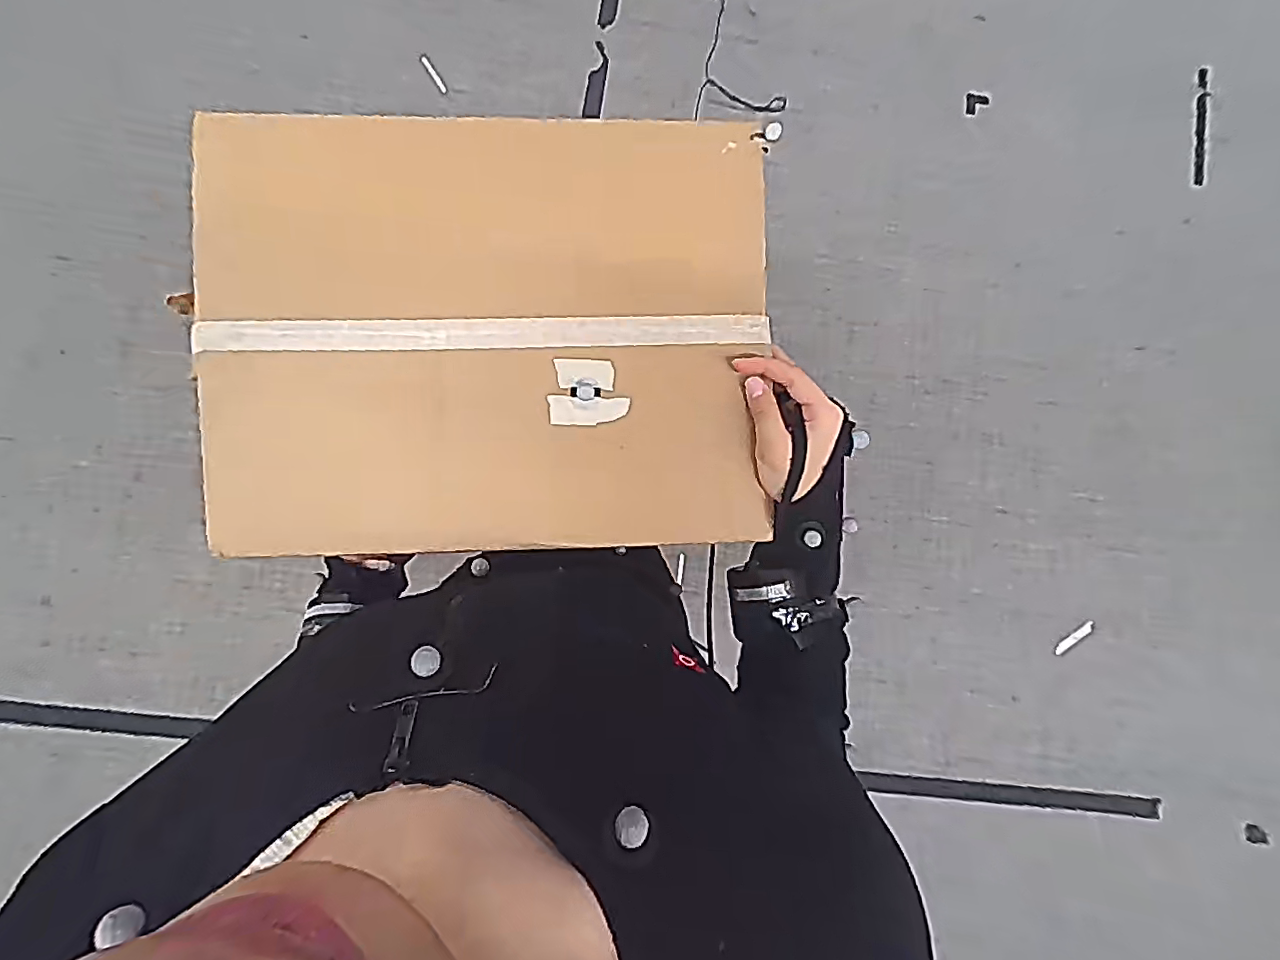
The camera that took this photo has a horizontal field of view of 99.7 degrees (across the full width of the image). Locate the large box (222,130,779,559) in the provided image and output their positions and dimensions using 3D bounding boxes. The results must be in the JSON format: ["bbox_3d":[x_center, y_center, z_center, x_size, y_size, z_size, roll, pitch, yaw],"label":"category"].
[{"bbox_3d":[-0.109,-0.105,0.549,0.408,0.320,0.320,-2,91,-5],"label":"large box"}]
